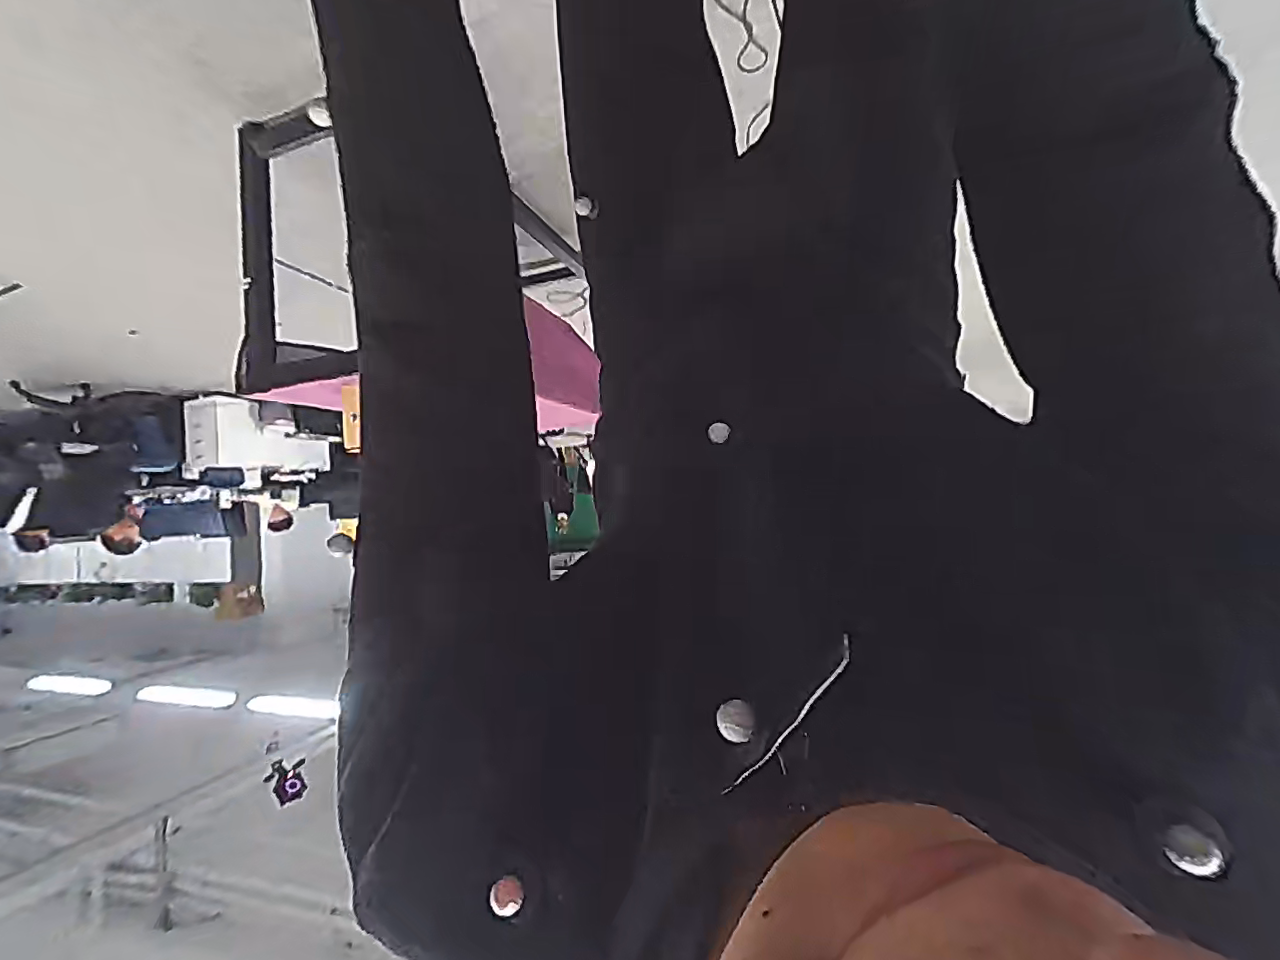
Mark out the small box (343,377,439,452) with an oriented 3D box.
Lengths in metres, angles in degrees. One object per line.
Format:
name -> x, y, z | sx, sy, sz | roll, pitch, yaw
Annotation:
small box -> -0.658, -0.167, 1.432 | 0.179, 0.176, 0.168 | -4, 179, 22
